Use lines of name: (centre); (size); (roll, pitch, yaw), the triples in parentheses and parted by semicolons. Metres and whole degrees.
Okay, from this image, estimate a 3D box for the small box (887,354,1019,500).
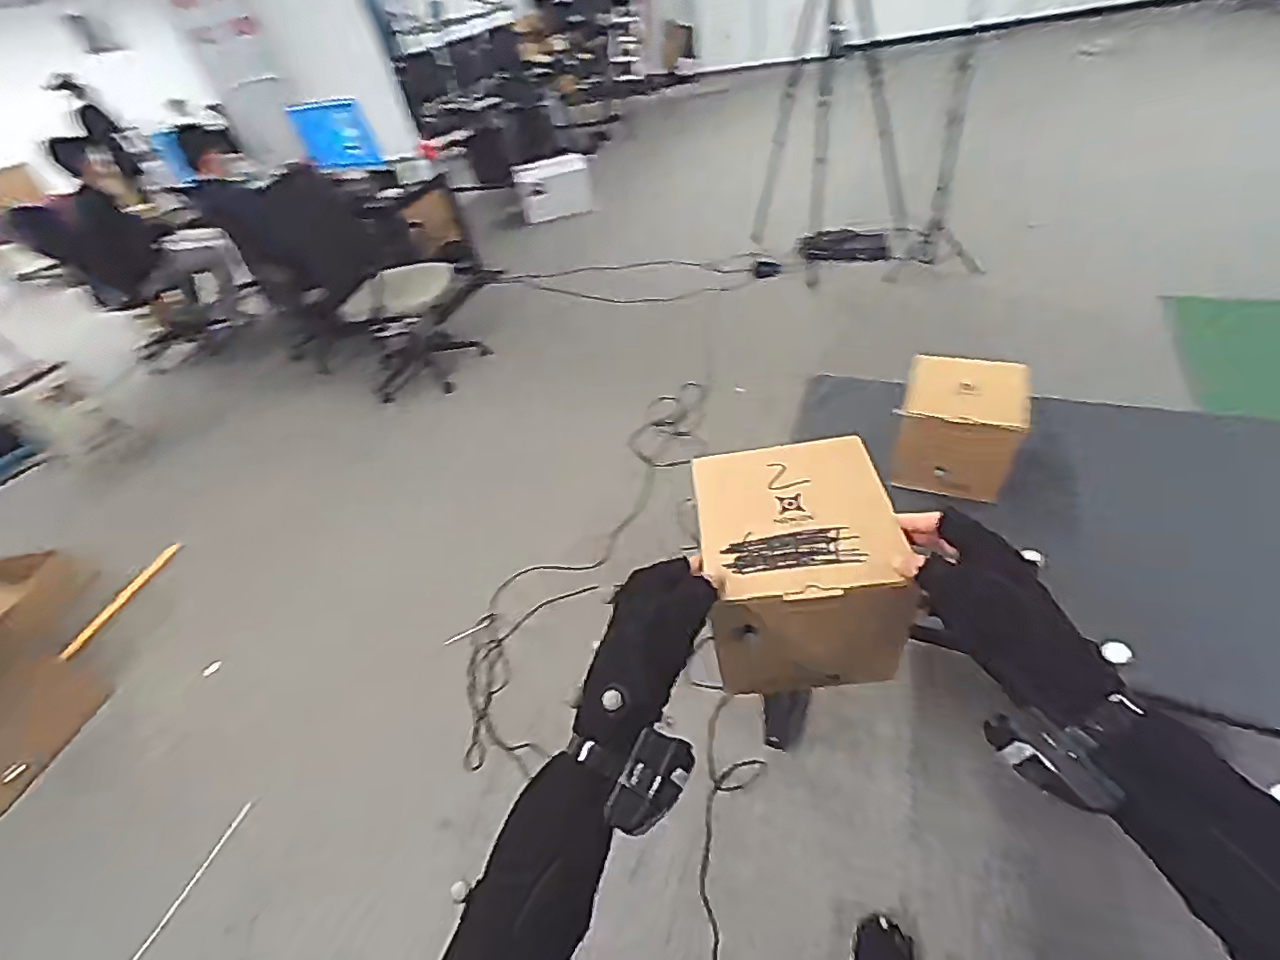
small box: (0.541, -0.095, 0.947); (0.168, 0.176, 0.179); (12, 50, 24)
